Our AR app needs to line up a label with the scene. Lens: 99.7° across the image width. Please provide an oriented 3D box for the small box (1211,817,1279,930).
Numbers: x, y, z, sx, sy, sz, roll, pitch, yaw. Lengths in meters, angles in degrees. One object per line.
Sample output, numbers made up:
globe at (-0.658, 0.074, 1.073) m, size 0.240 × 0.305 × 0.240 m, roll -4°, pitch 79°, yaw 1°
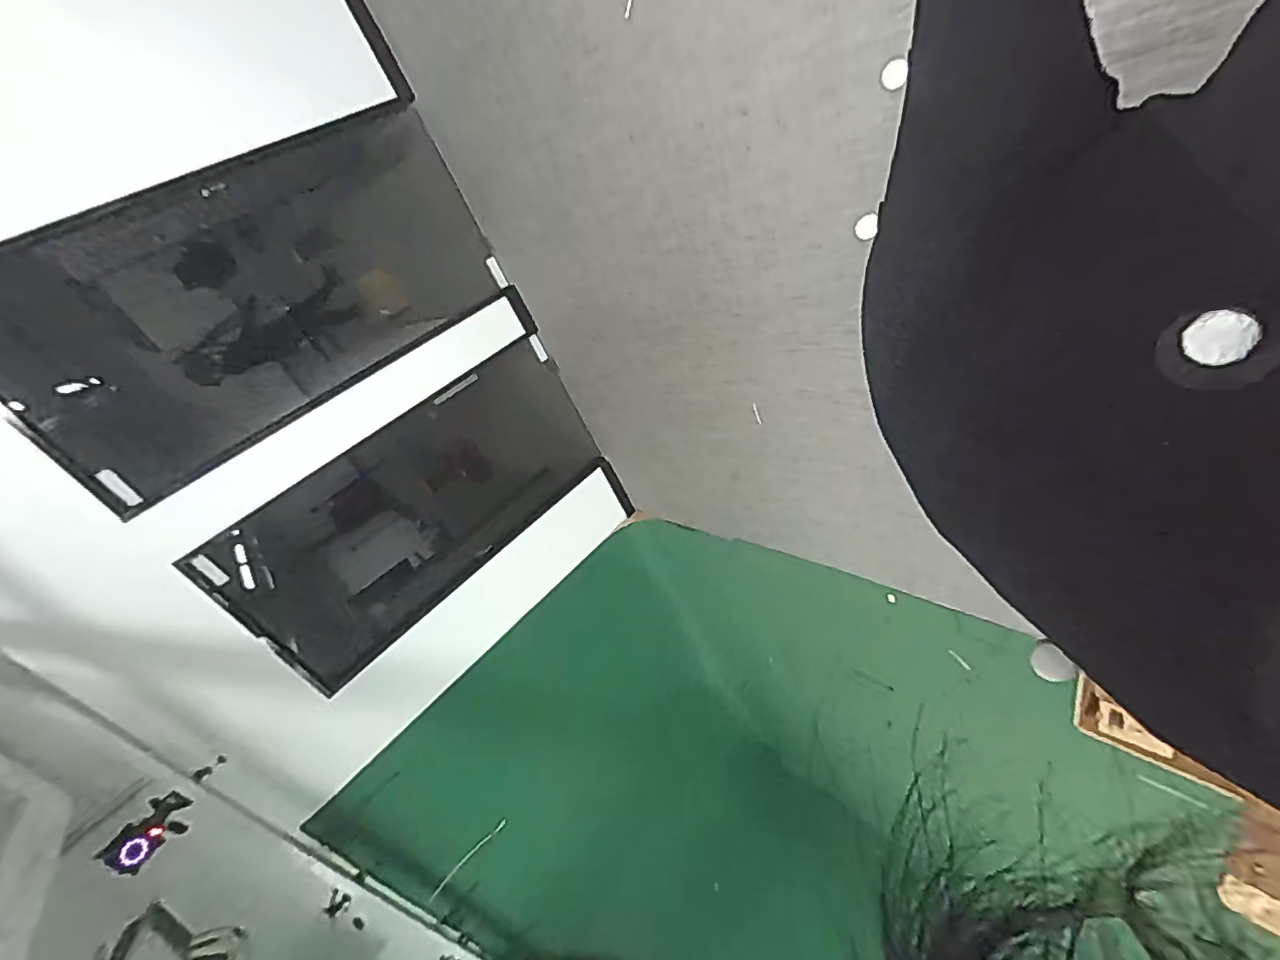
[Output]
small box at (1.544, 0.960, 1.312) m, size 0.179 × 0.176 × 0.168 m, roll 18°, pitch 142°, yaw 48°

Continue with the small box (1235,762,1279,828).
small box at (1.664, 0.865, 1.374) m, size 0.179 × 0.176 × 0.168 m, roll 19°, pitch 142°, yaw 49°
